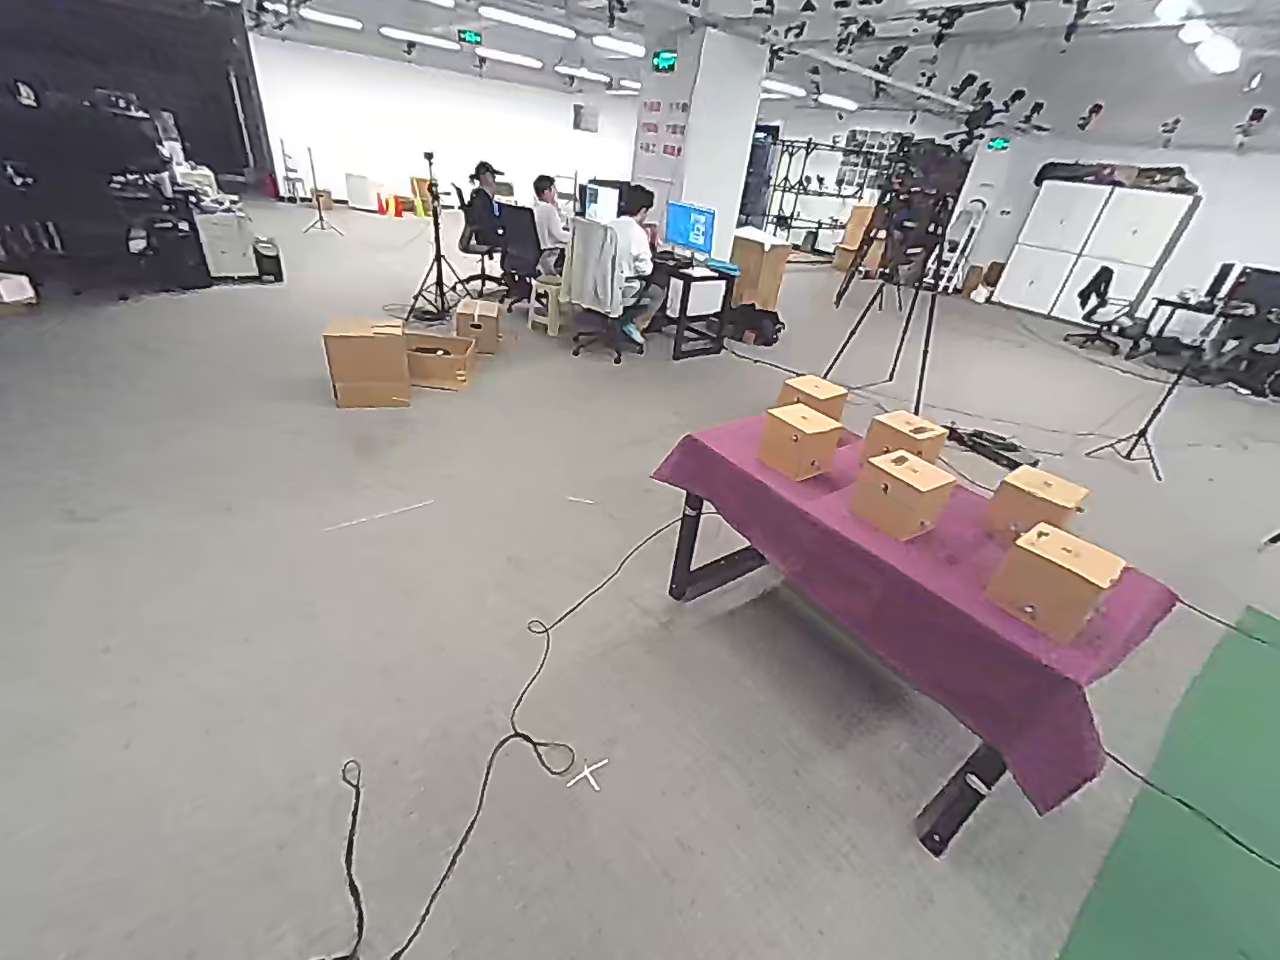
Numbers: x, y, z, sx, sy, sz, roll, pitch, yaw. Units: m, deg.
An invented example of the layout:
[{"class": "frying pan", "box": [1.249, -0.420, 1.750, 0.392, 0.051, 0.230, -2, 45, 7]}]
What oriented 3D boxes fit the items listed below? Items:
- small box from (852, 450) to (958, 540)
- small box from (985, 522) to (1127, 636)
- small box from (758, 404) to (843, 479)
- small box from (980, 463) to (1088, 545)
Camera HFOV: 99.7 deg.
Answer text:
[{"class": "small box", "box": [0.721, 0.039, 1.491, 0.168, 0.176, 0.179, -14, 38, -31]}, {"class": "small box", "box": [0.933, 0.227, 1.222, 0.168, 0.176, 0.179, -16, 38, -35]}, {"class": "small box", "box": [0.502, -0.124, 1.715, 0.168, 0.176, 0.179, -15, 38, -33]}, {"class": "small box", "box": [1.084, 0.080, 1.496, 0.179, 0.176, 0.168, -18, 39, -35]}]
